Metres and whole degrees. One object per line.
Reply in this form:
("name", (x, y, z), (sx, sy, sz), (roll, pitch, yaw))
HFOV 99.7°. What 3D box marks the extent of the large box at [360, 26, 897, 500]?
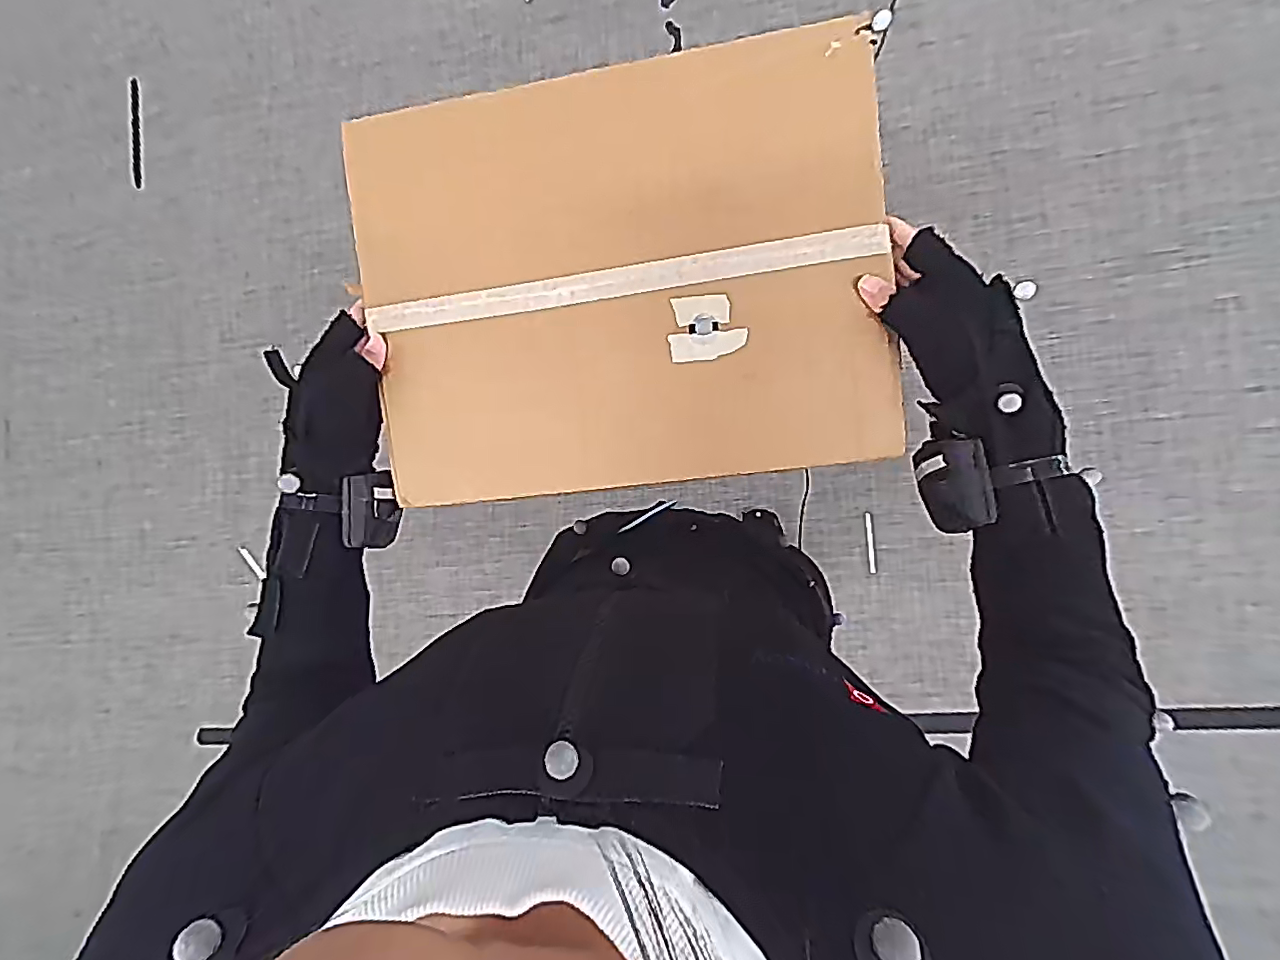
("large box", (-0.002, -0.169, 0.576), (0.408, 0.320, 0.320), (-7, 95, 7))
